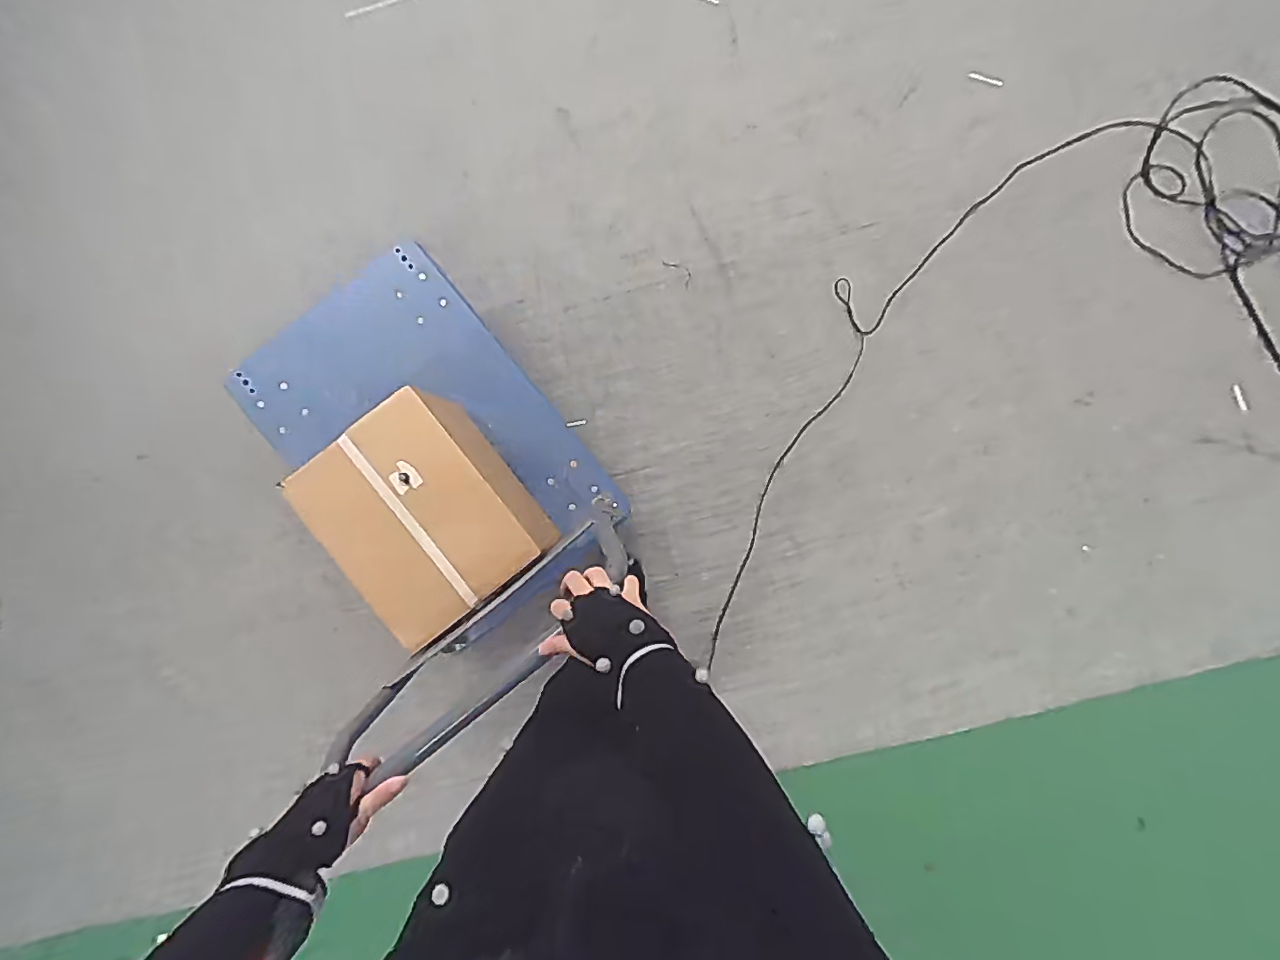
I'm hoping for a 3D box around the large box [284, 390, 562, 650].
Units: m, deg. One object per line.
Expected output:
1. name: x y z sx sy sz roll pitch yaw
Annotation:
1. large box: -0.424 0.077 1.158 0.320 0.320 0.408 -39 90 -2
